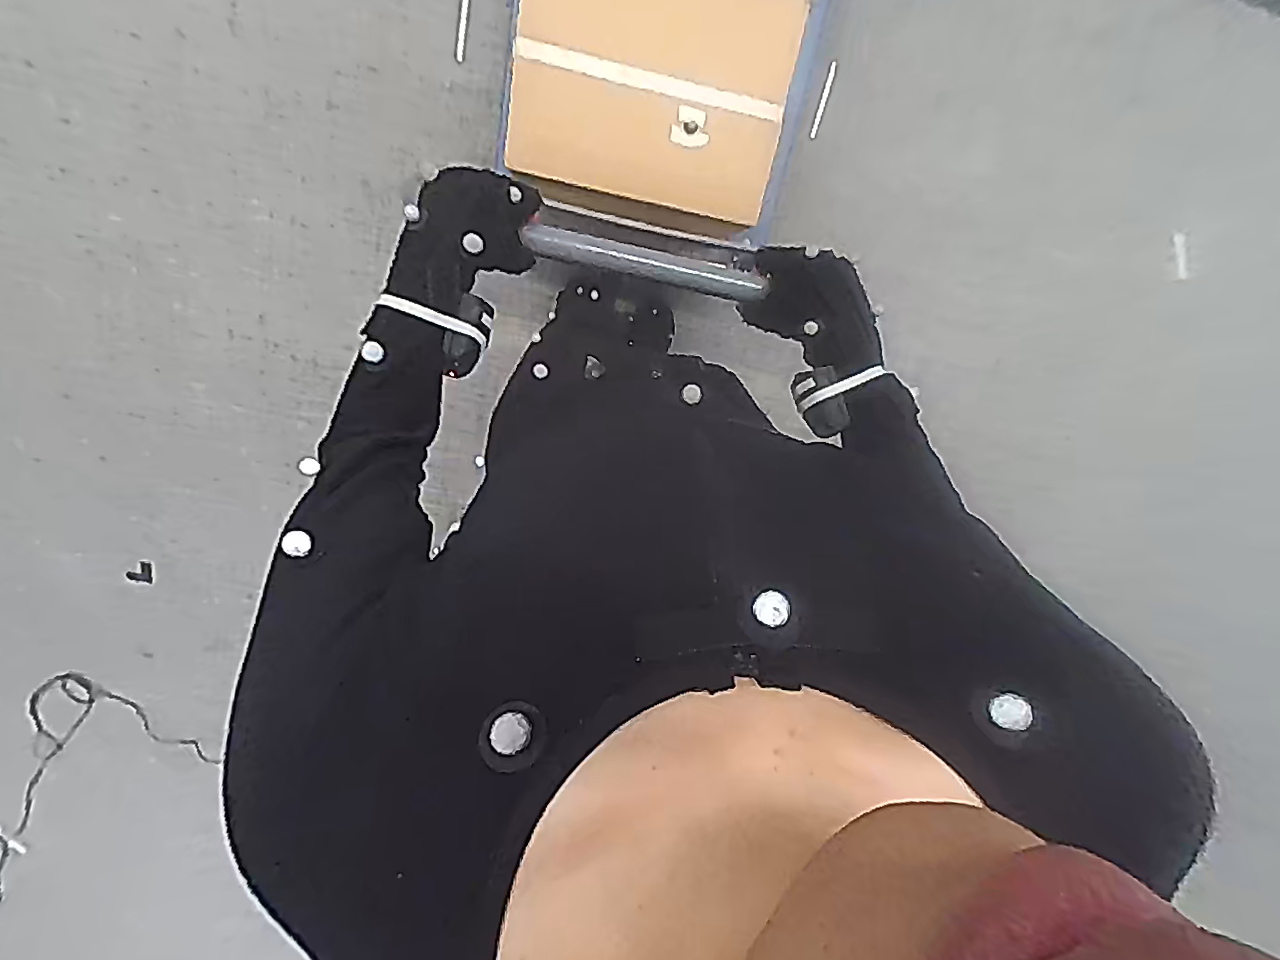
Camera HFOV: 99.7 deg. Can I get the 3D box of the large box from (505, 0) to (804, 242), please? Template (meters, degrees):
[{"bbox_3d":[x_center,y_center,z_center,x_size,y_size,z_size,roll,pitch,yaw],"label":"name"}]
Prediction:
[{"bbox_3d":[0.002,-0.623,0.933,0.408,0.320,0.320,9,110,-8],"label":"large box"}]
